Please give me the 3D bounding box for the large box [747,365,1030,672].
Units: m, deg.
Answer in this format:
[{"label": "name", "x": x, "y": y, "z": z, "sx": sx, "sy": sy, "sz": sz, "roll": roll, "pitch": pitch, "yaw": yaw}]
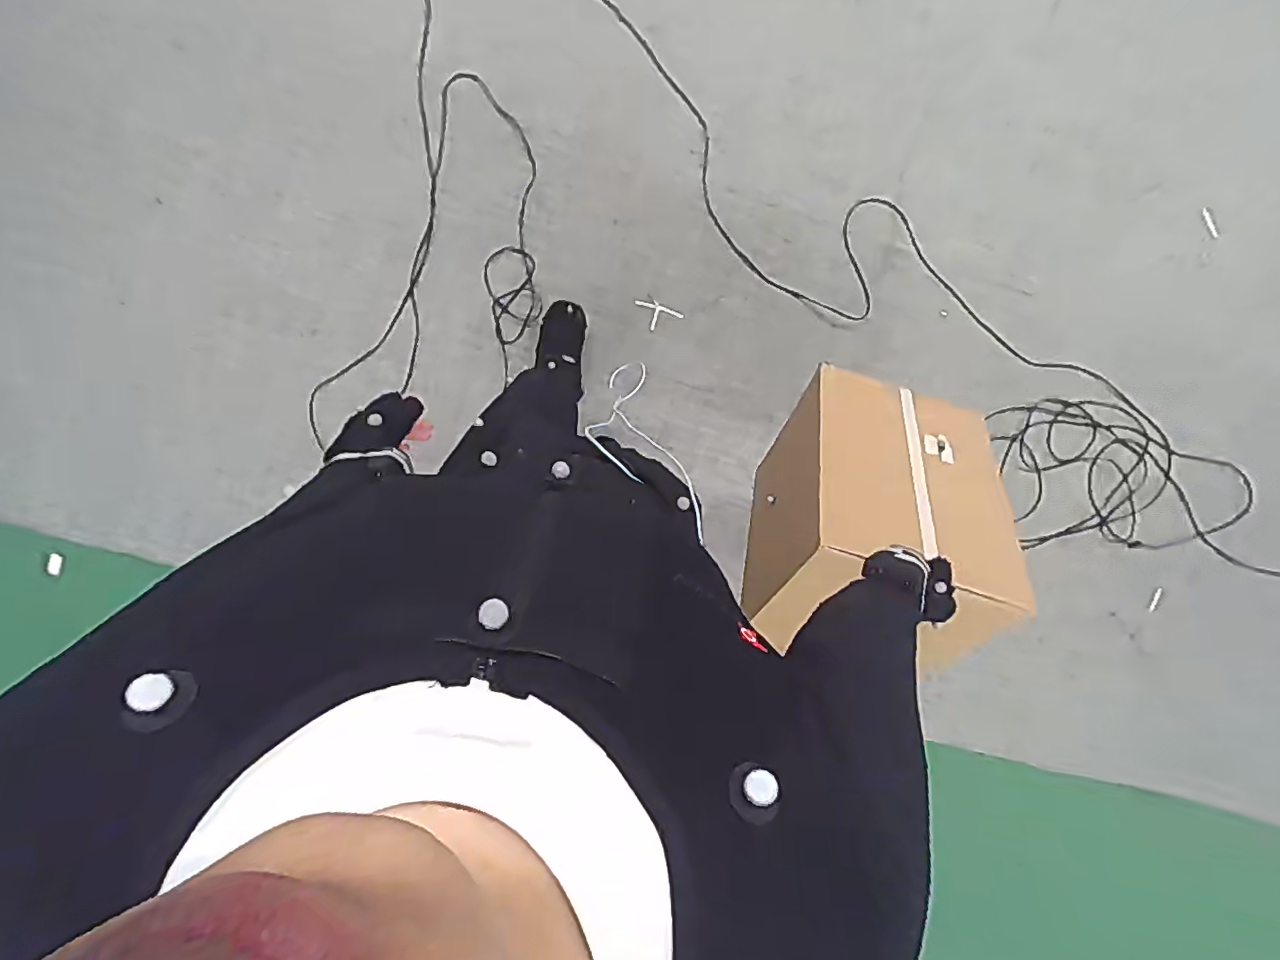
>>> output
[{"label": "large box", "x": 0.400, "y": 0.071, "z": 0.973, "sx": 0.320, "sy": 0.408, "sz": 0.320, "roll": 18, "pitch": 140, "yaw": -2}]
